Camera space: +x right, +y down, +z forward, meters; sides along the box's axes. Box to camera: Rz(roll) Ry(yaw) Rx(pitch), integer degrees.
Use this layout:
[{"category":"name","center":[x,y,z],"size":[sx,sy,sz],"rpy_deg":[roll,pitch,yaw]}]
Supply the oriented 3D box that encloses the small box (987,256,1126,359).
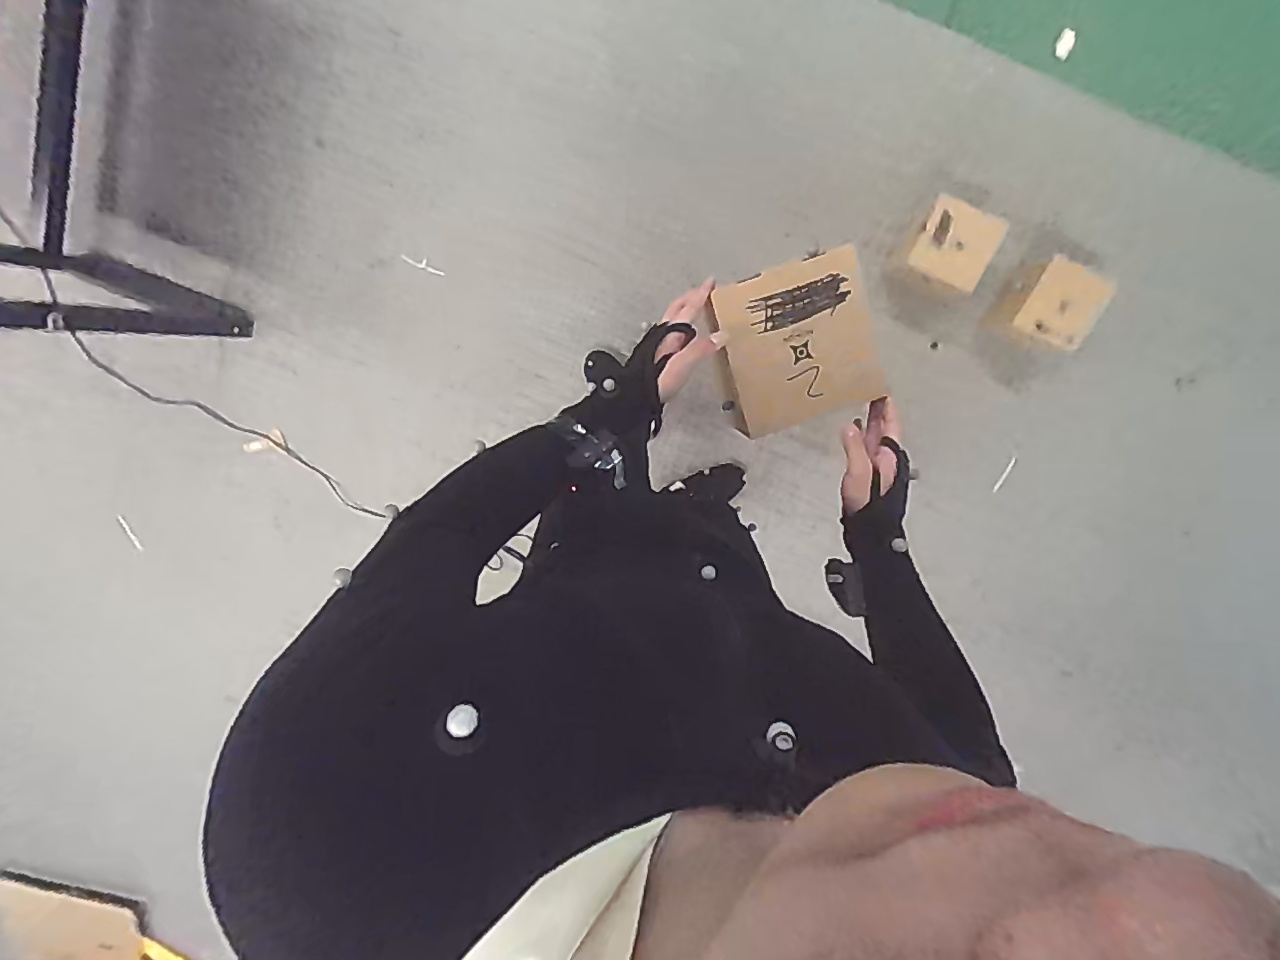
[{"category":"small box","center":[0.995,-0.410,1.313],"size":[0.168,0.176,0.179],"rpy_deg":[27,104,0]}]

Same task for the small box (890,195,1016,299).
[{"category":"small box","center":[0.742,-0.551,1.307],"size":[0.179,0.176,0.168],"rpy_deg":[25,105,0]}]
